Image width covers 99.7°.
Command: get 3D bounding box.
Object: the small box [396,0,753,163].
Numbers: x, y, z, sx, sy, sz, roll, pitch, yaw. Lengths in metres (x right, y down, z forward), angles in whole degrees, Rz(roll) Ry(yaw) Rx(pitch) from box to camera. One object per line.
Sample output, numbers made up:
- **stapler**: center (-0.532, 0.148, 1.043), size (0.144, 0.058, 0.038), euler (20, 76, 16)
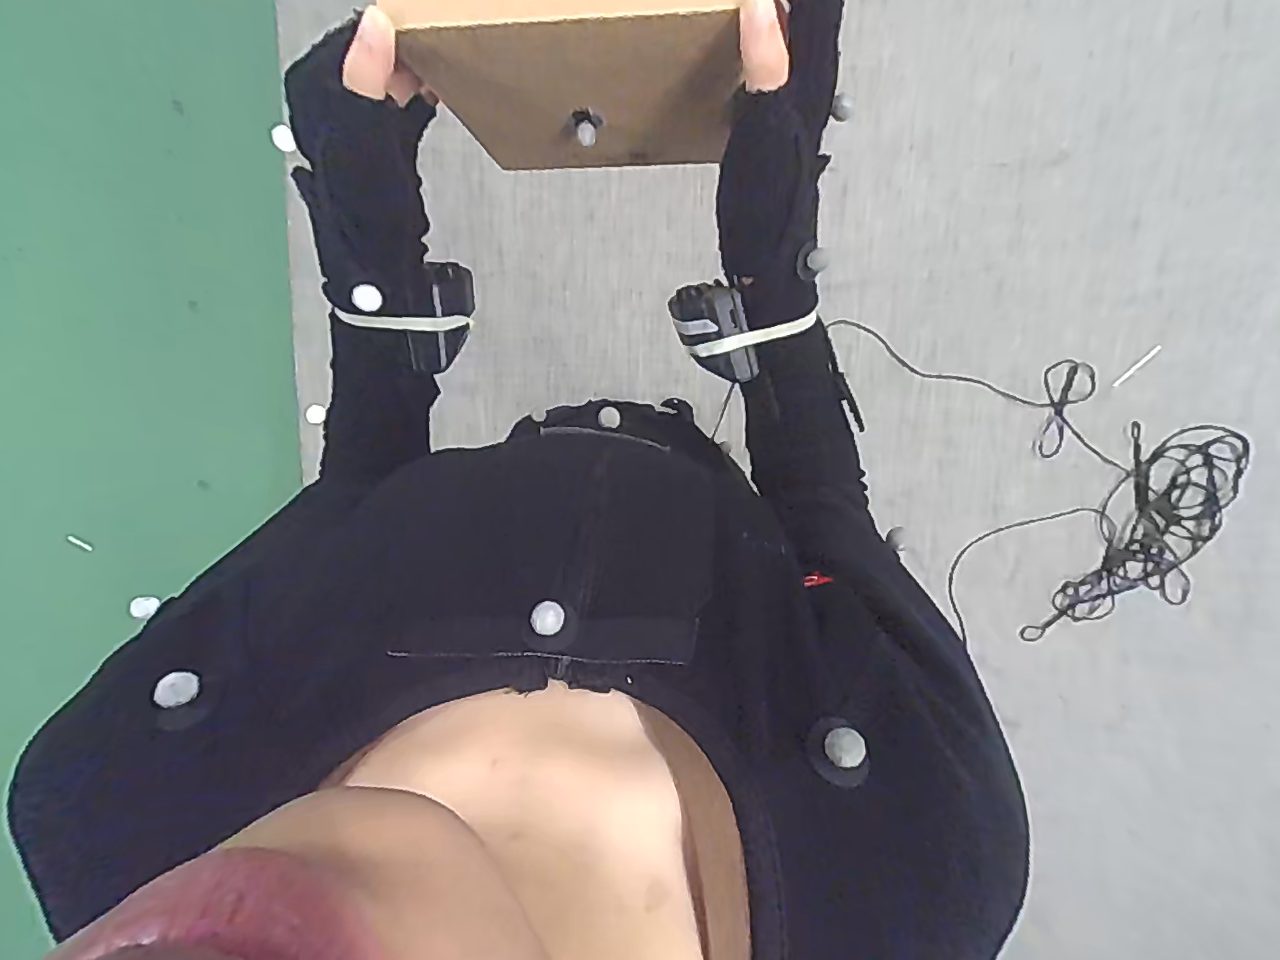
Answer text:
- **small box**: center (-0.025, -0.299, 0.305), size (0.168, 0.176, 0.179), euler (0, 100, 4)
